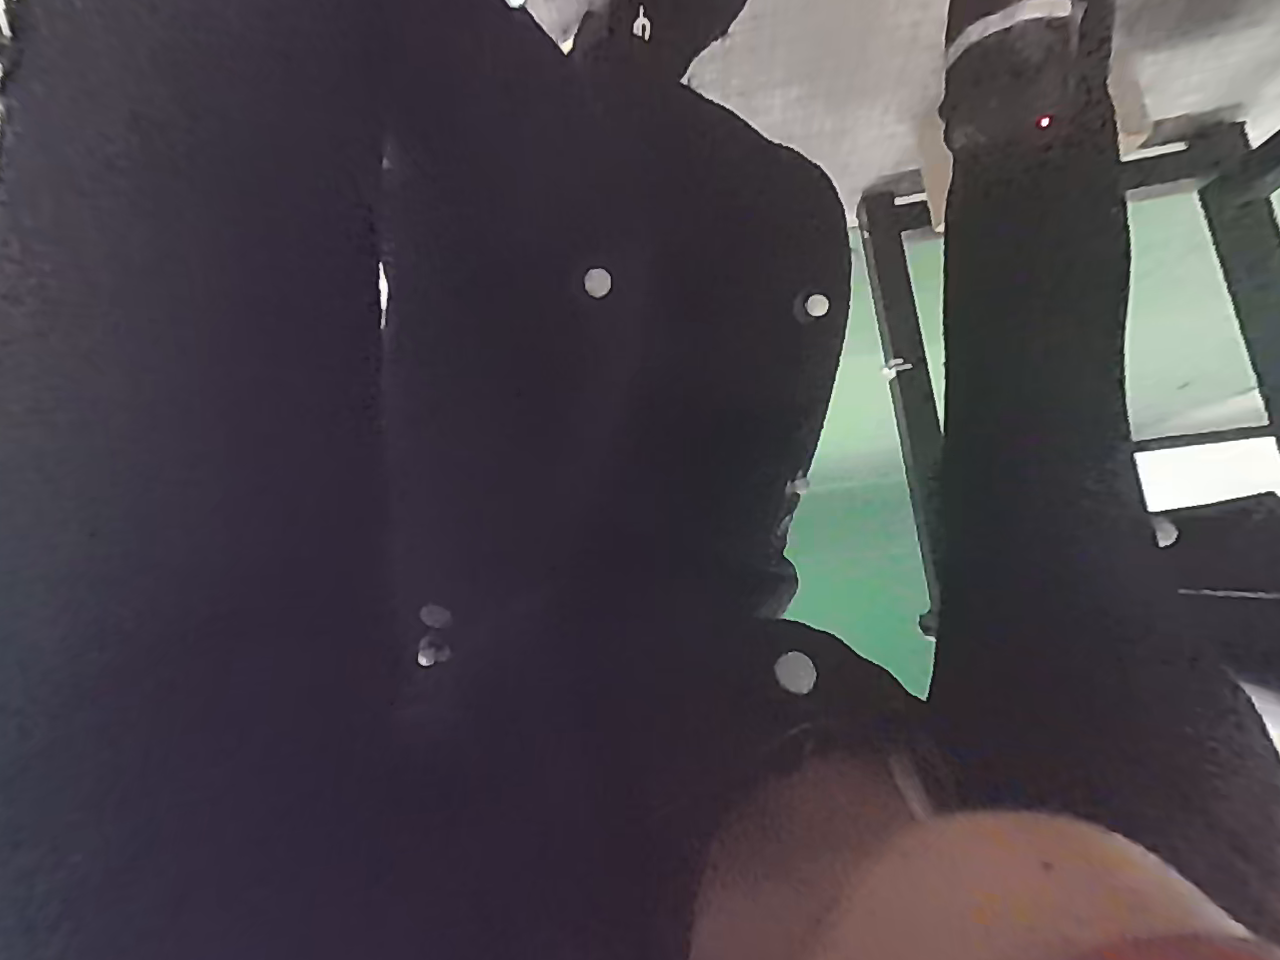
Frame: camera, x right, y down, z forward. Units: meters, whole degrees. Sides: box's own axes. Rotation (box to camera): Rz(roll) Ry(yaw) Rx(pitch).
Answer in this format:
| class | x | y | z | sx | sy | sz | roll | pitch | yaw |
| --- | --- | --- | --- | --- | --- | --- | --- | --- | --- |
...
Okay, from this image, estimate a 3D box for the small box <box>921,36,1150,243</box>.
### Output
| class | x | y | z | sx | sy | sz | roll | pitch | yaw |
| --- | --- | --- | --- | --- | --- | --- | --- | --- | --- |
| small box | 0.504 | -0.447 | 0.721 | 0.168 | 0.176 | 0.179 | -4 | 170 | -4 |
